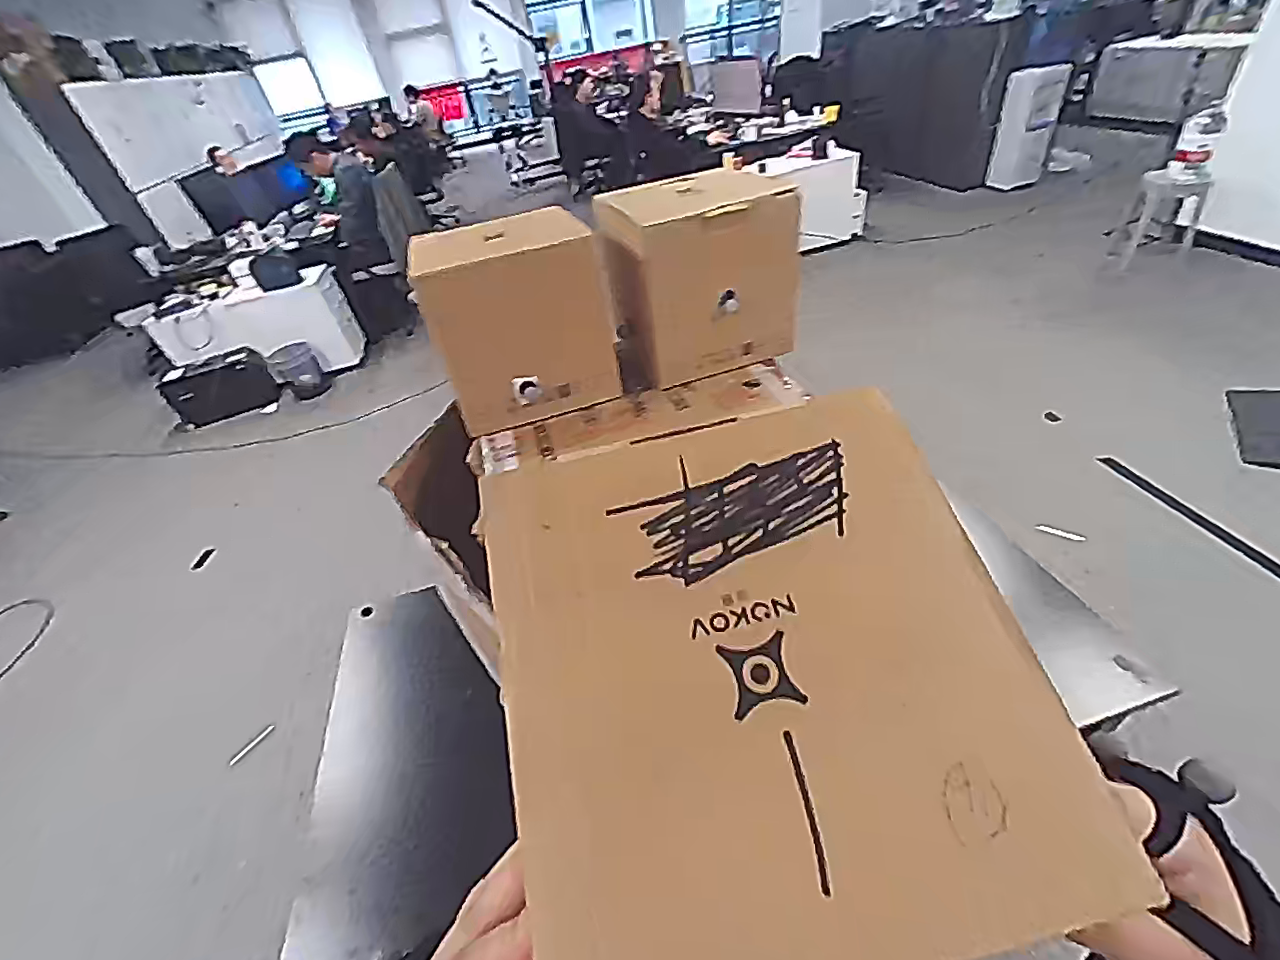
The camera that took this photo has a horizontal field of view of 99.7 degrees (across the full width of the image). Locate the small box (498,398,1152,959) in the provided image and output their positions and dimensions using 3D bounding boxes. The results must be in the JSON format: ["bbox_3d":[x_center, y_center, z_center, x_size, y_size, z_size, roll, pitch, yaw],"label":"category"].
[{"bbox_3d":[0.044,0.094,0.249,0.168,0.176,0.179,-13,61,-2],"label":"small box"}]
